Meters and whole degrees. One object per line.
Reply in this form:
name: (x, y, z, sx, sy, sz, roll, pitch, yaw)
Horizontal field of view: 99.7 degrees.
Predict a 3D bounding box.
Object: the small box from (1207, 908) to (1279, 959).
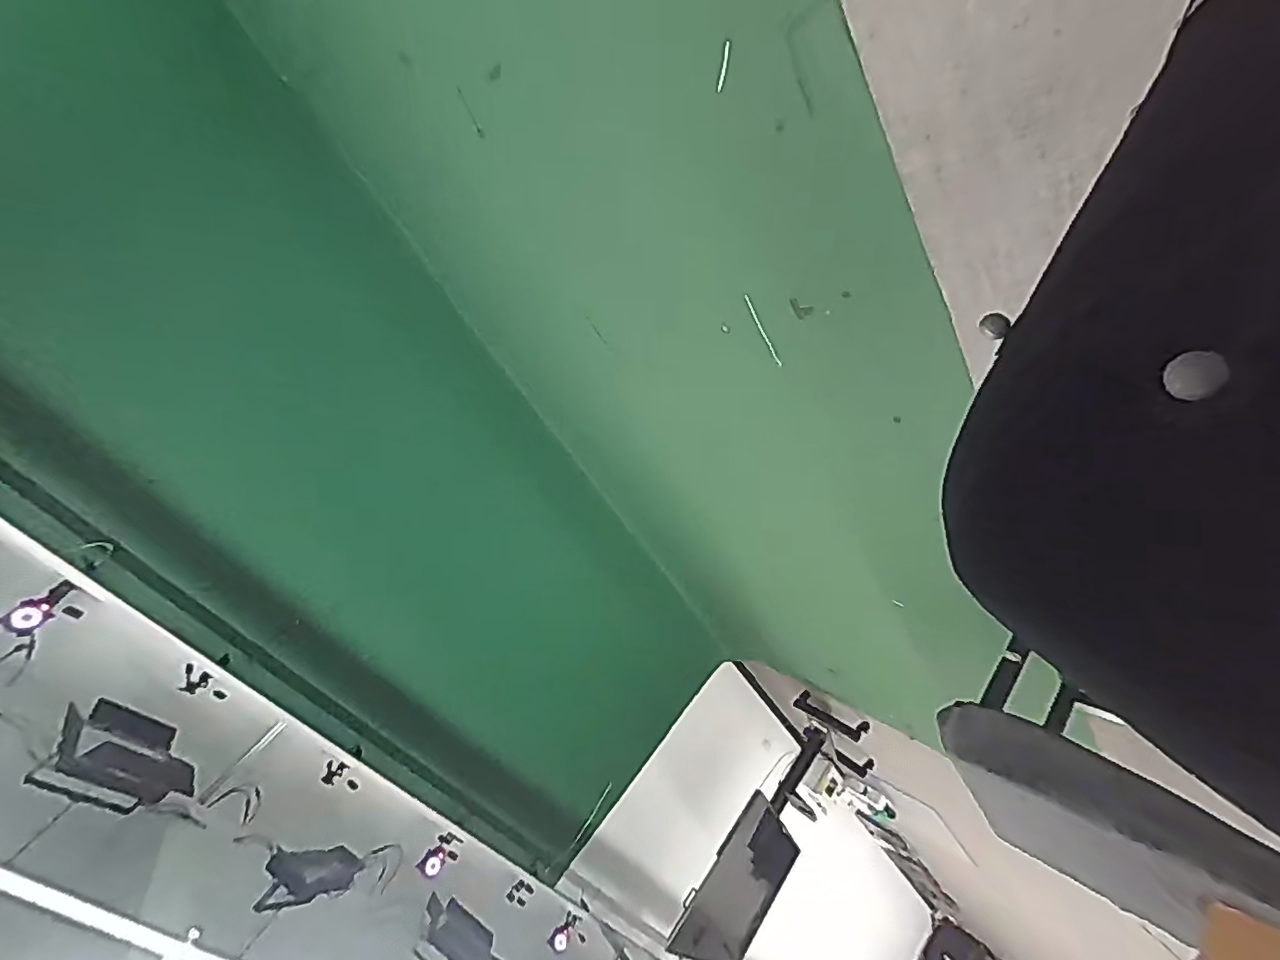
small box: (1.410, 1.121, 1.208, 0.168, 0.176, 0.179, 54, 158, -23)
